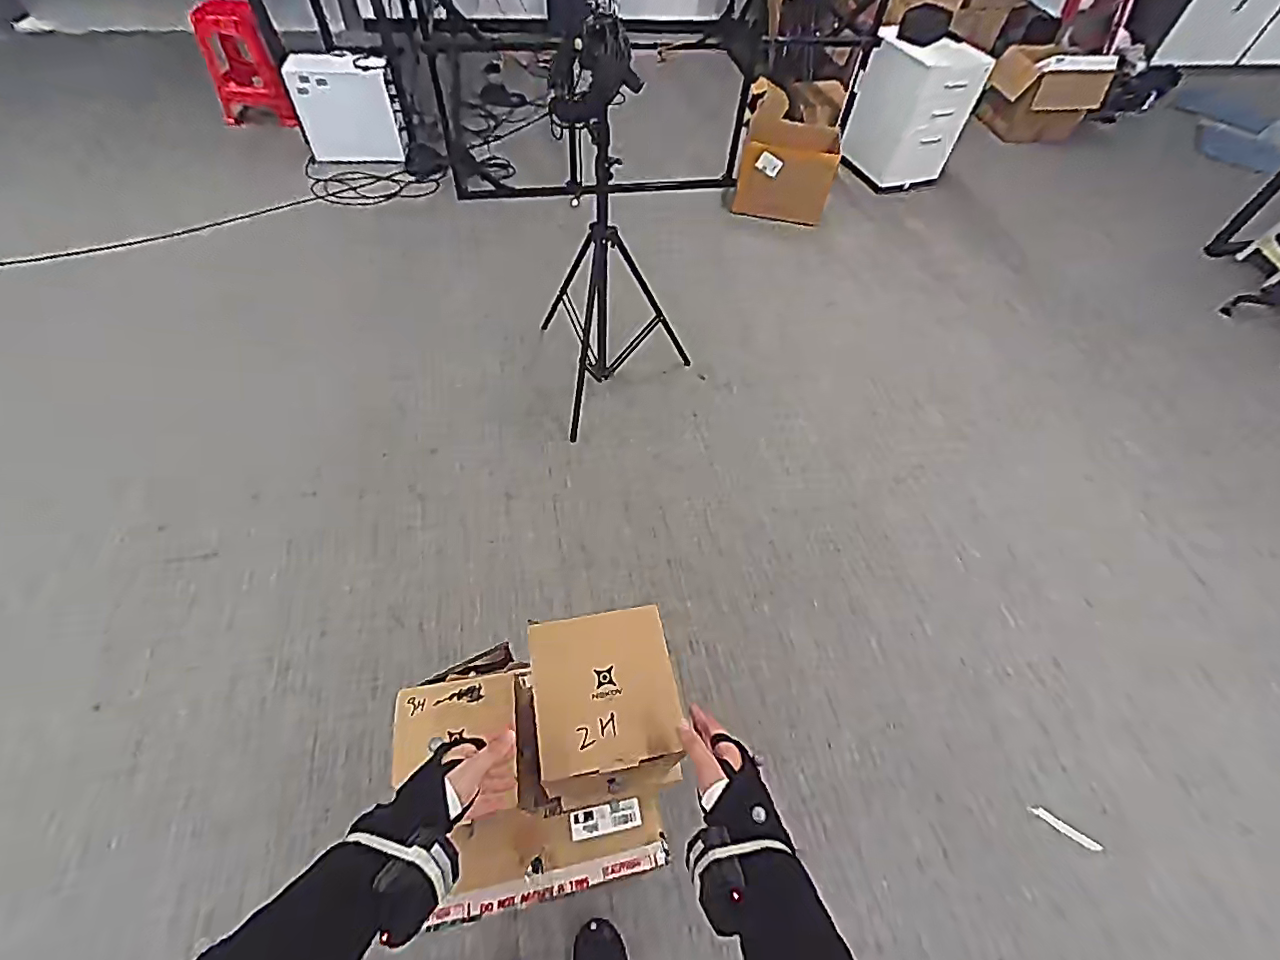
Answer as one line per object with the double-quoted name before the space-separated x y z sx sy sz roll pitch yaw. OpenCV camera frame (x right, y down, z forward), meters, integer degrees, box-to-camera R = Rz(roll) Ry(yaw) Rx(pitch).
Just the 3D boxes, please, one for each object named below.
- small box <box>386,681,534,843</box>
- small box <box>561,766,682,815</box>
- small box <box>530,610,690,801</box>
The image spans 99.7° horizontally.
"small box" -0.250 0.411 0.789 0.168 0.176 0.179 -6 57 -7
"small box" -0.044 0.391 0.821 0.168 0.176 0.179 -5 57 -10
"small box" -0.048 0.289 0.690 0.168 0.176 0.179 -7 57 -11
